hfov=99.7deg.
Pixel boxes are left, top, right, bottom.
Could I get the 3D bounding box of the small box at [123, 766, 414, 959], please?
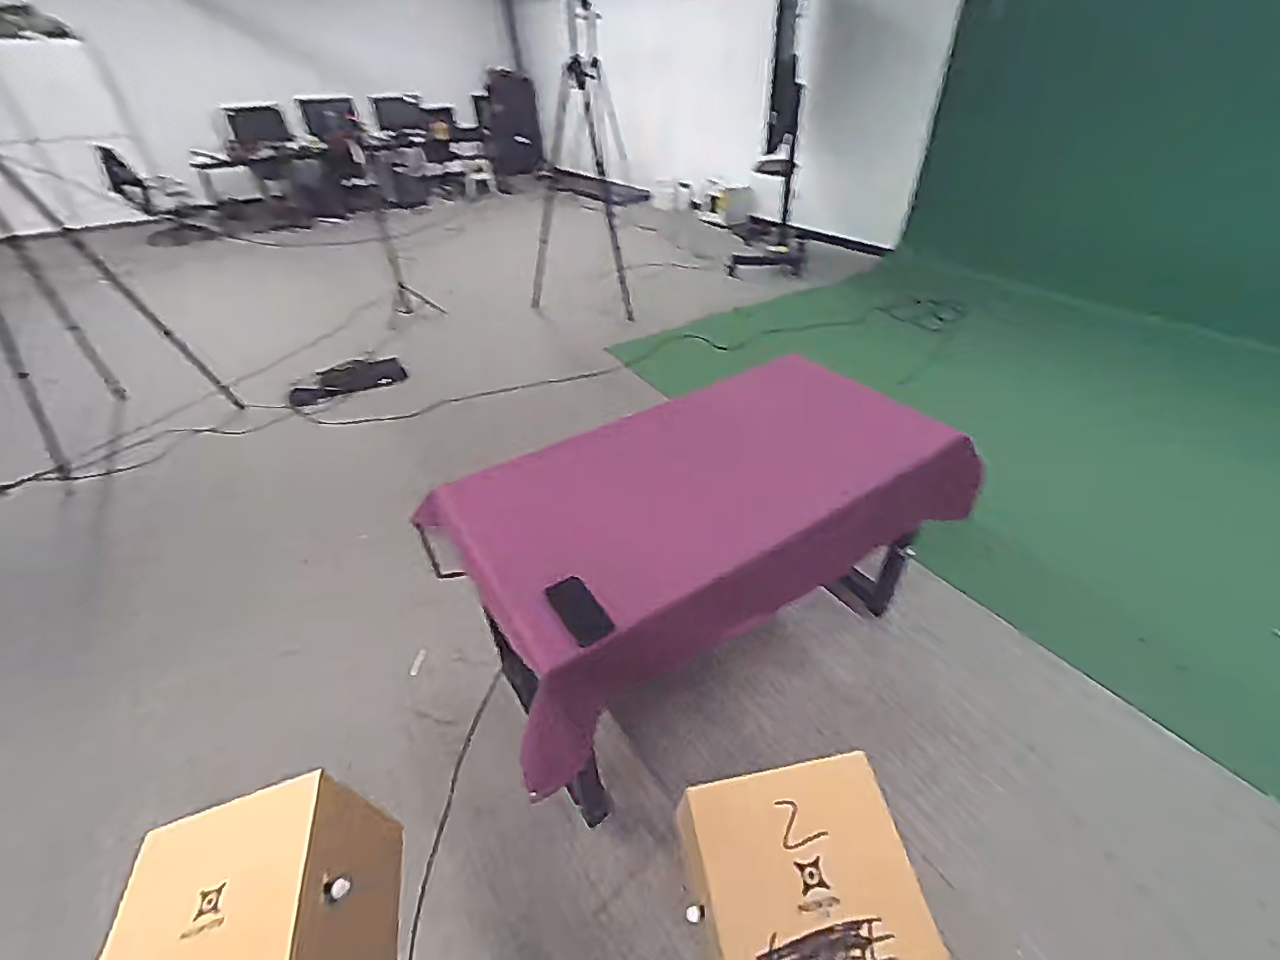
[{"bbox_3d":[-0.334,0.415,0.516,0.168,0.176,0.179,-18,42,-3],"label":"small box"}]
